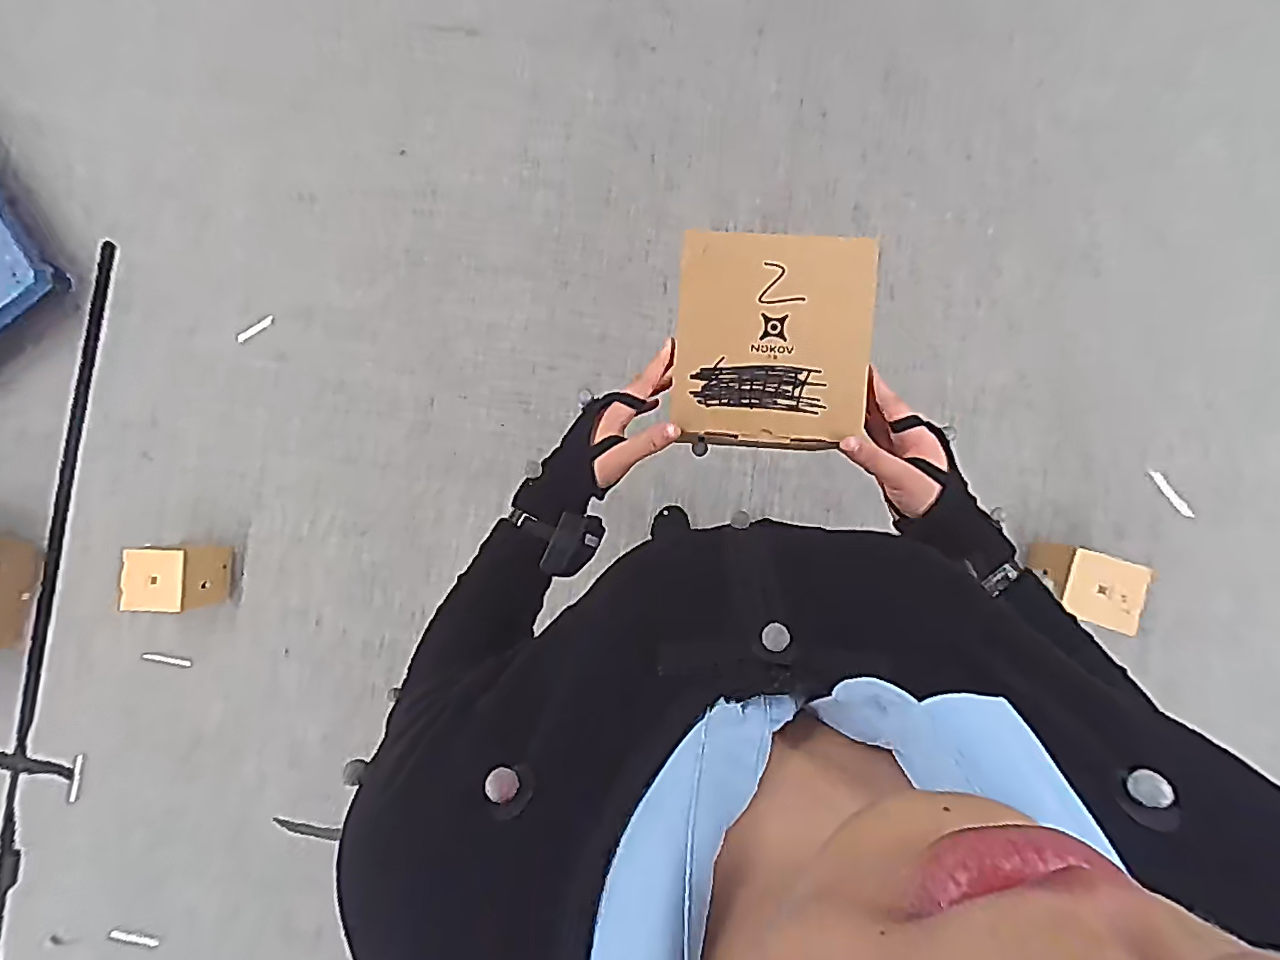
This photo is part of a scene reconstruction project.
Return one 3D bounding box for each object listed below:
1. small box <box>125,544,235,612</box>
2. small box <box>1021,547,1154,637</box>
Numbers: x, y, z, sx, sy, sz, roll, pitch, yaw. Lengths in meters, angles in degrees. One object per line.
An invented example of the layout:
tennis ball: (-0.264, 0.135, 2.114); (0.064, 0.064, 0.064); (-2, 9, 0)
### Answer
small box: (-1.288, 0.270, 1.525); (0.179, 0.176, 0.168); (1, 88, 5)
small box: (1.101, 0.269, 1.347); (0.179, 0.176, 0.168); (17, 90, 5)
